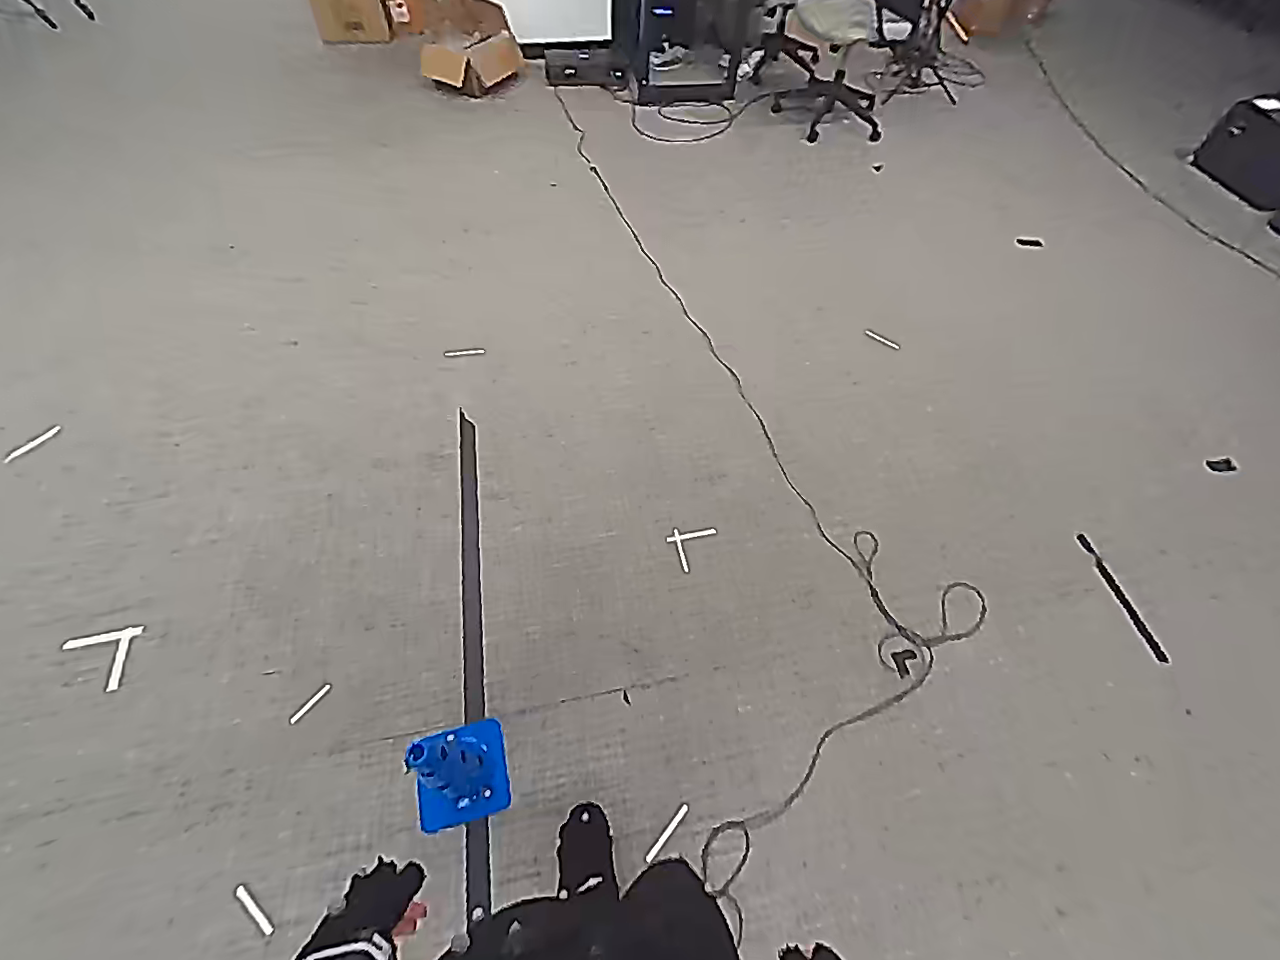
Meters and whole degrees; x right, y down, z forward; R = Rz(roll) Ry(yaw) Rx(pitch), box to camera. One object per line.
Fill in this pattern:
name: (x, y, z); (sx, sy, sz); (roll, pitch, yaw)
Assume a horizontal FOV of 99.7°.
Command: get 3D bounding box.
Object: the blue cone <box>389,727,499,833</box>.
blue cone: (-0.420, 0.590, 1.106); (0.192, 0.380, 0.193); (-11, 57, -10)
